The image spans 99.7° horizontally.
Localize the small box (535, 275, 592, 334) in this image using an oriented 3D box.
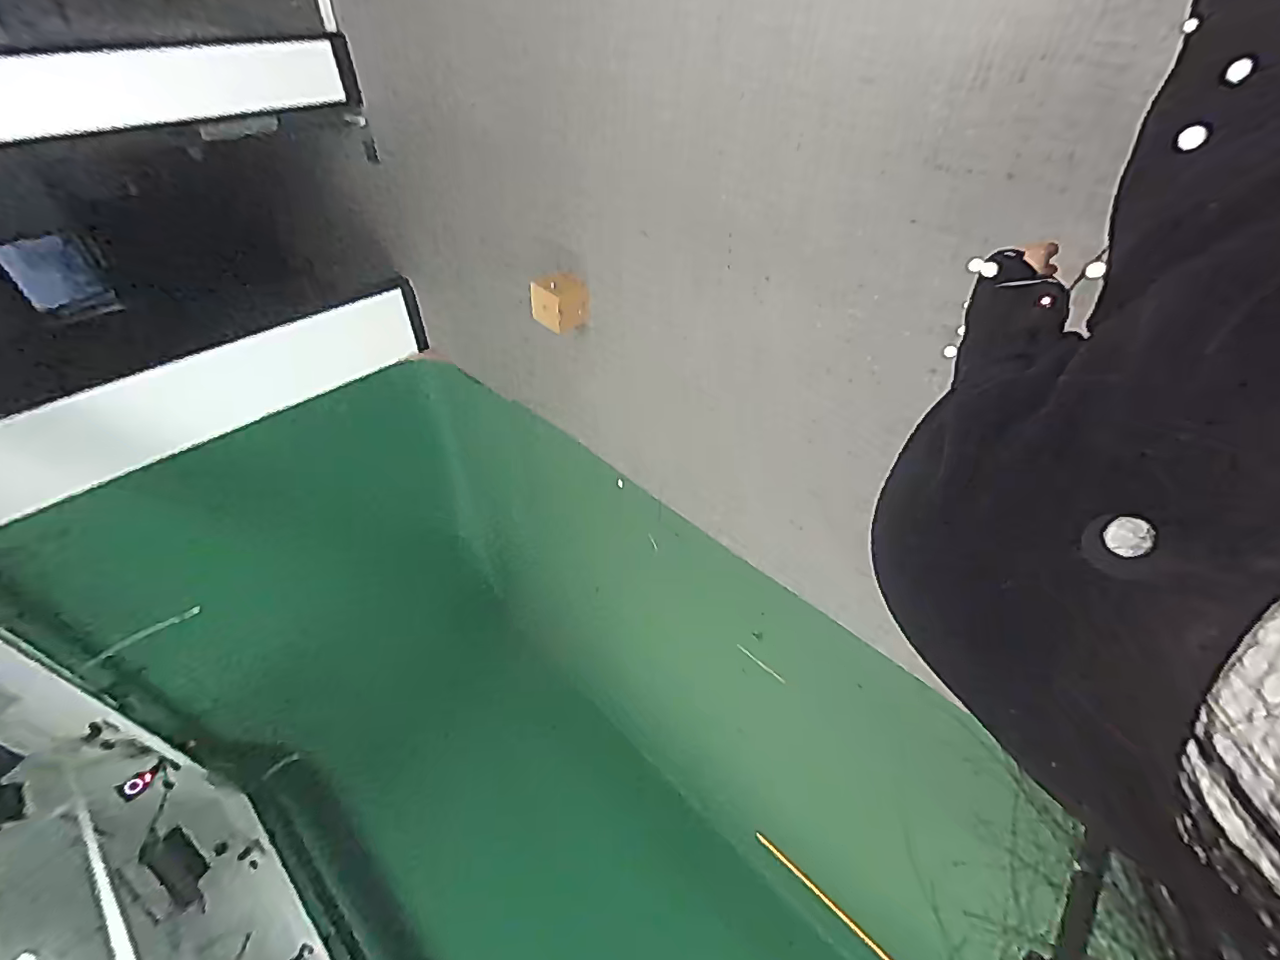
[{"bbox_3d":[-0.326,-0.755,2.303,0.179,0.176,0.168,35,144,25],"label":"small box"}]
